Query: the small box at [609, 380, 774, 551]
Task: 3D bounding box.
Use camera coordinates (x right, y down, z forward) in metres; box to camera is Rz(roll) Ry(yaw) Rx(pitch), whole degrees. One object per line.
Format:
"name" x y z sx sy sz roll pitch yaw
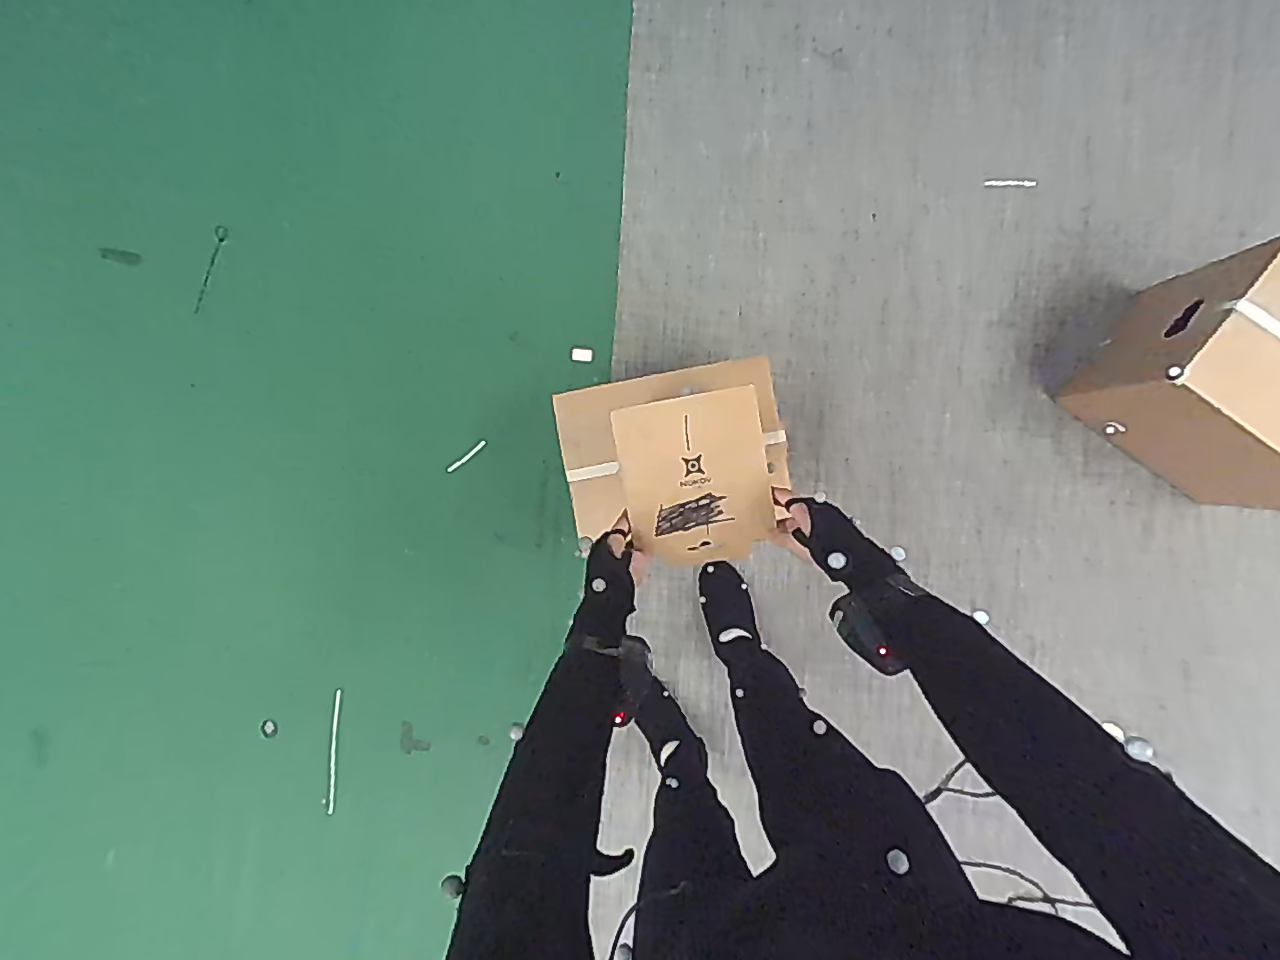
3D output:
"small box" 0.067 -0.023 0.683 0.168 0.176 0.179 -9 95 7

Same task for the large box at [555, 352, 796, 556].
"large box" 0.078 -0.049 1.140 0.408 0.320 0.320 -11 90 6
